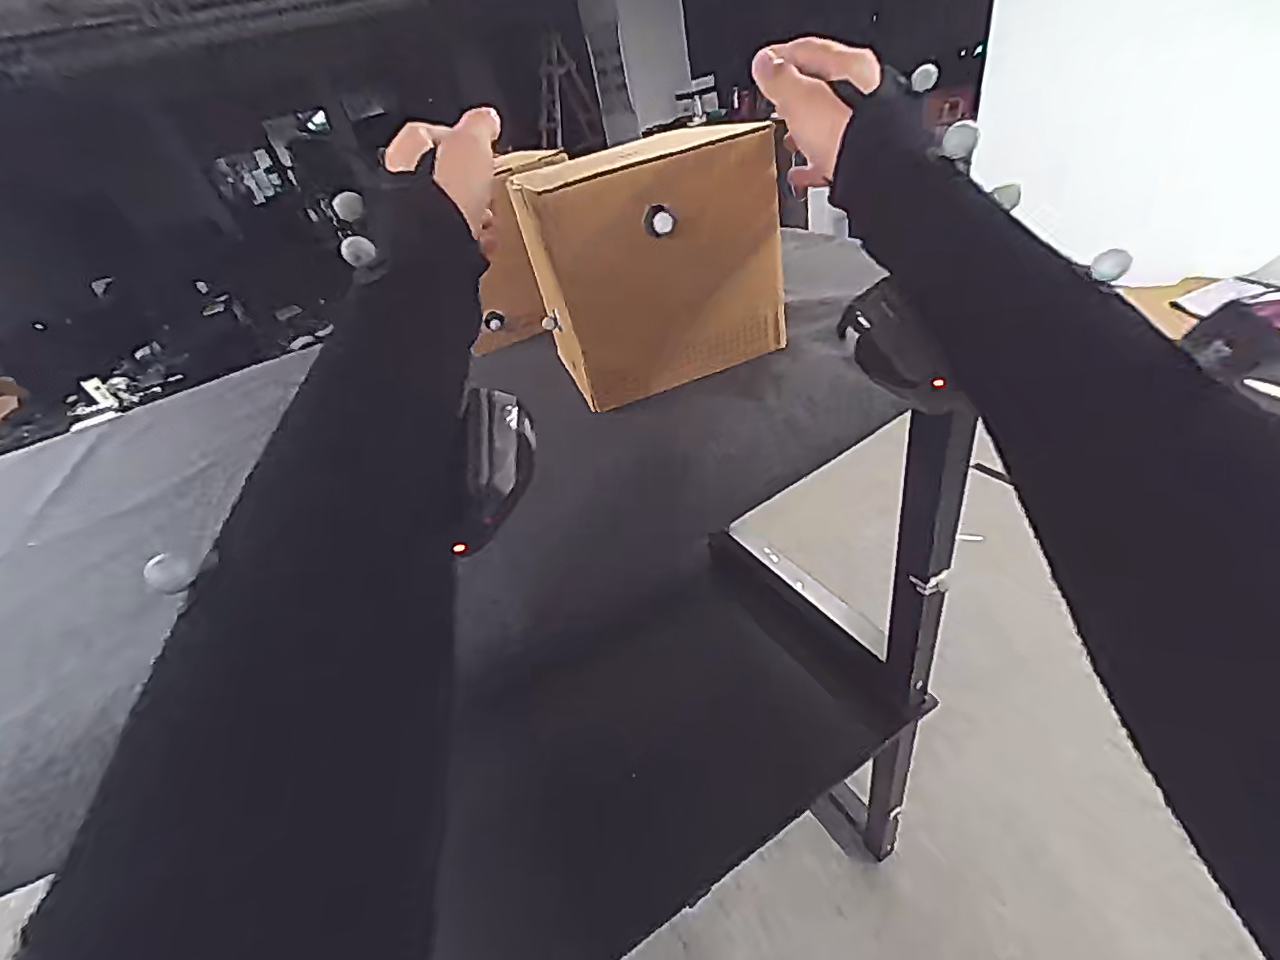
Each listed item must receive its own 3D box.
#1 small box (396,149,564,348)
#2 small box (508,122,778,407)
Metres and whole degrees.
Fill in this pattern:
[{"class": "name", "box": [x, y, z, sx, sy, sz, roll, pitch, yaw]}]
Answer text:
[{"class": "small box", "box": [-0.165, -0.274, 0.641, 0.168, 0.176, 0.179, -25, 37, -14]}, {"class": "small box", "box": [0.005, -0.188, 0.466, 0.179, 0.176, 0.168, -21, 35, -7]}]
